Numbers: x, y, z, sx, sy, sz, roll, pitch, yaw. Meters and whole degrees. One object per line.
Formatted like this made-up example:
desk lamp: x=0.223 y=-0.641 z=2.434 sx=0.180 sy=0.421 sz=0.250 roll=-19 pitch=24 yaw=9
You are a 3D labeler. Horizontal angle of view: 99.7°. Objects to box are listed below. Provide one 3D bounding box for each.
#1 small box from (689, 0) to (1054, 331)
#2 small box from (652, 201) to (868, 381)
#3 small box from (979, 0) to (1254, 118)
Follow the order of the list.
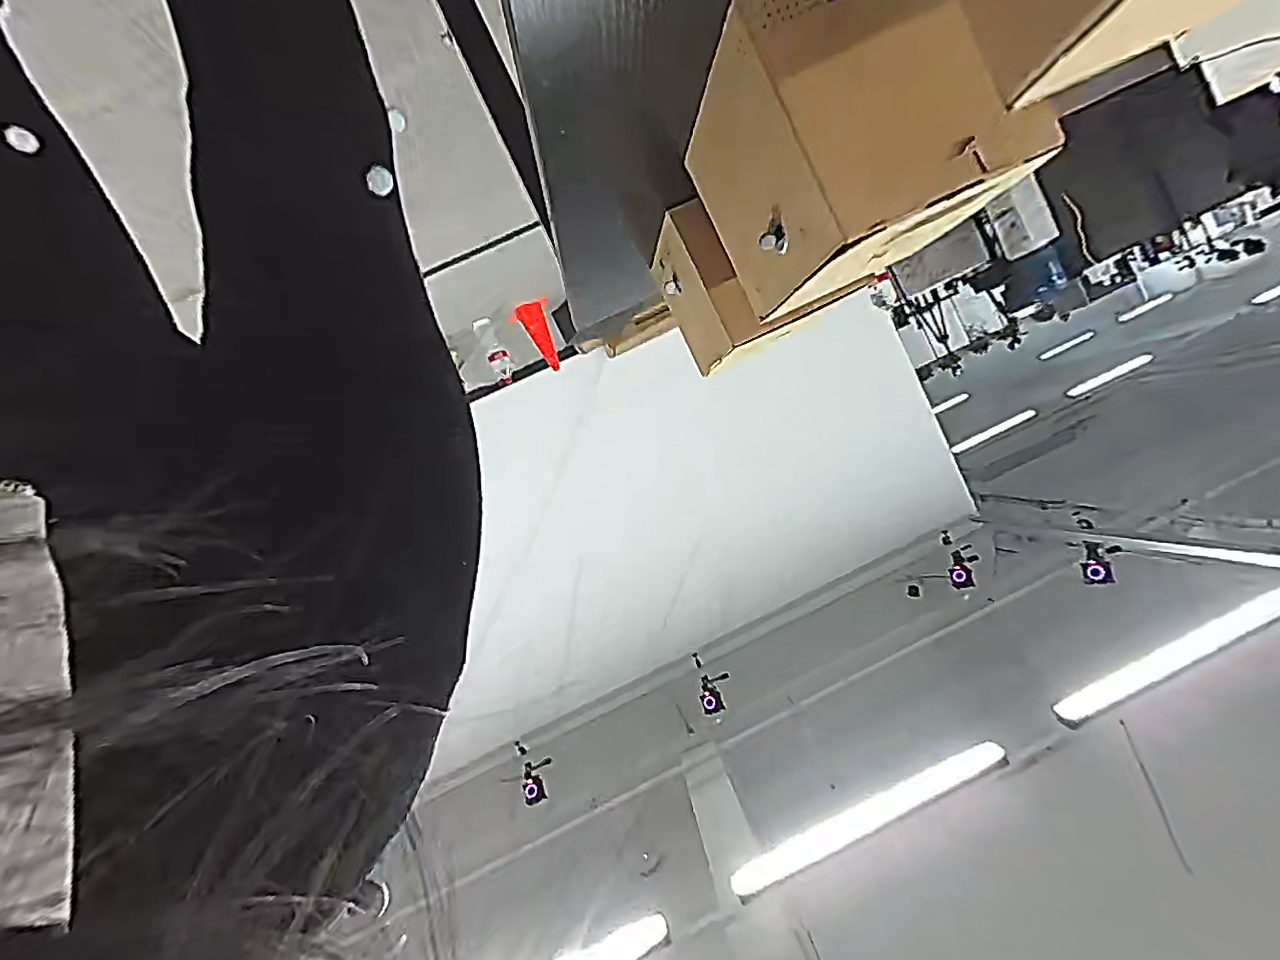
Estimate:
small box: x=0.155 y=-0.250 z=0.425 sx=0.168 sy=0.176 sz=0.179 roll=-27 pitch=-178 yaw=-5
small box: x=0.136 y=-0.248 z=0.669 sx=0.179 sy=0.176 sz=0.168 roll=-27 pitch=-179 yaw=-5
small box: x=0.195 y=-0.262 z=0.147 sx=0.168 sy=0.176 sz=0.179 roll=-25 pitch=-177 yaw=0
